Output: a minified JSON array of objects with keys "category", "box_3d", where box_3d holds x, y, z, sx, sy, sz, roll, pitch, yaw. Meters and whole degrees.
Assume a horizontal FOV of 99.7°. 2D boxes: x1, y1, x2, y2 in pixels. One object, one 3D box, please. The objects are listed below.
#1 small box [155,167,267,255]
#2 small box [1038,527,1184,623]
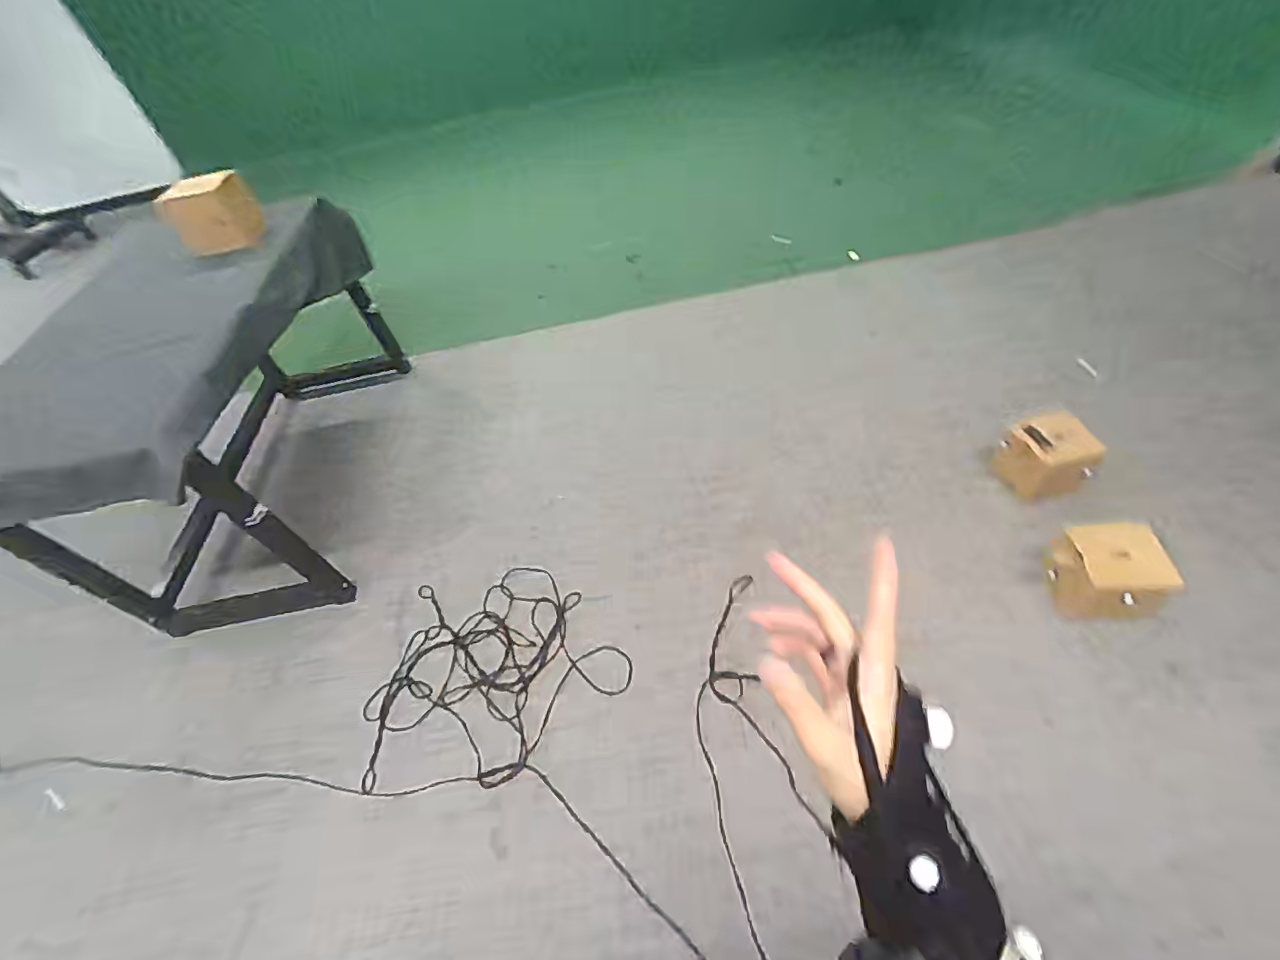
[{"category":"small box","box_3d":[-1.275,-0.805,1.625,0.179,0.176,0.168,-11,48,4]},{"category":"small box","box_3d":[1.087,0.225,1.268,0.179,0.176,0.168,-3,50,9]}]
